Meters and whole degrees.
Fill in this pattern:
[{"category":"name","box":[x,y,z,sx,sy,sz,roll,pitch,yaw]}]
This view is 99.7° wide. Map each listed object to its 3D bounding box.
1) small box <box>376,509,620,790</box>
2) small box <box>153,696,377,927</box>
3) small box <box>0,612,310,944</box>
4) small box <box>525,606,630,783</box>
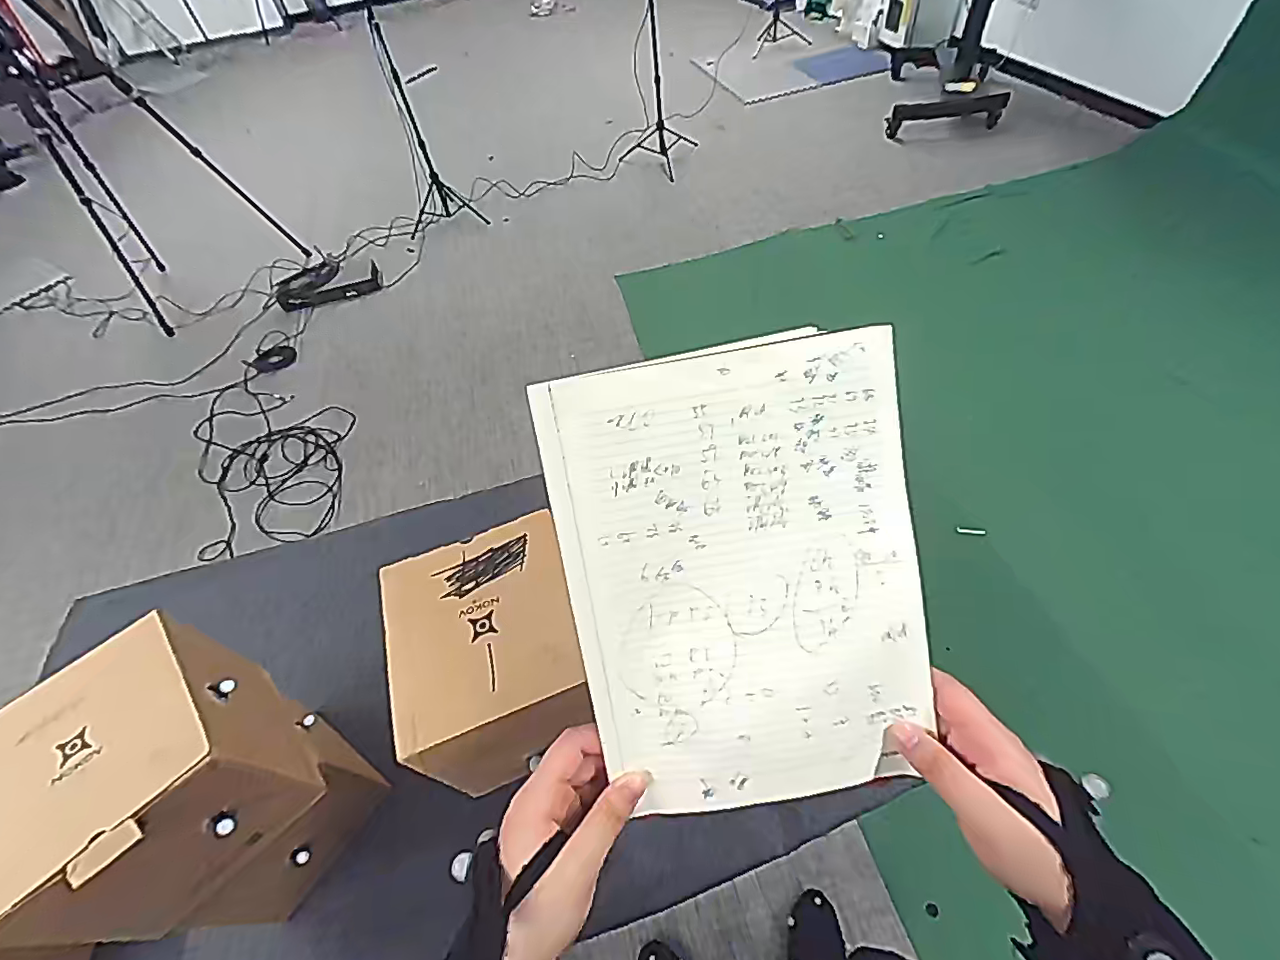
[{"category":"small box","box":[-0.129,0.163,0.515,0.168,0.176,0.179,-20,53,-7]},{"category":"small box","box":[-0.442,0.356,0.614,0.179,0.176,0.168,25,59,24]},{"category":"small box","box":[-0.440,0.259,0.483,0.168,0.176,0.179,-39,57,-23]},{"category":"small box","box":[-0.118,0.252,0.655,0.179,0.176,0.168,7,54,13]}]
